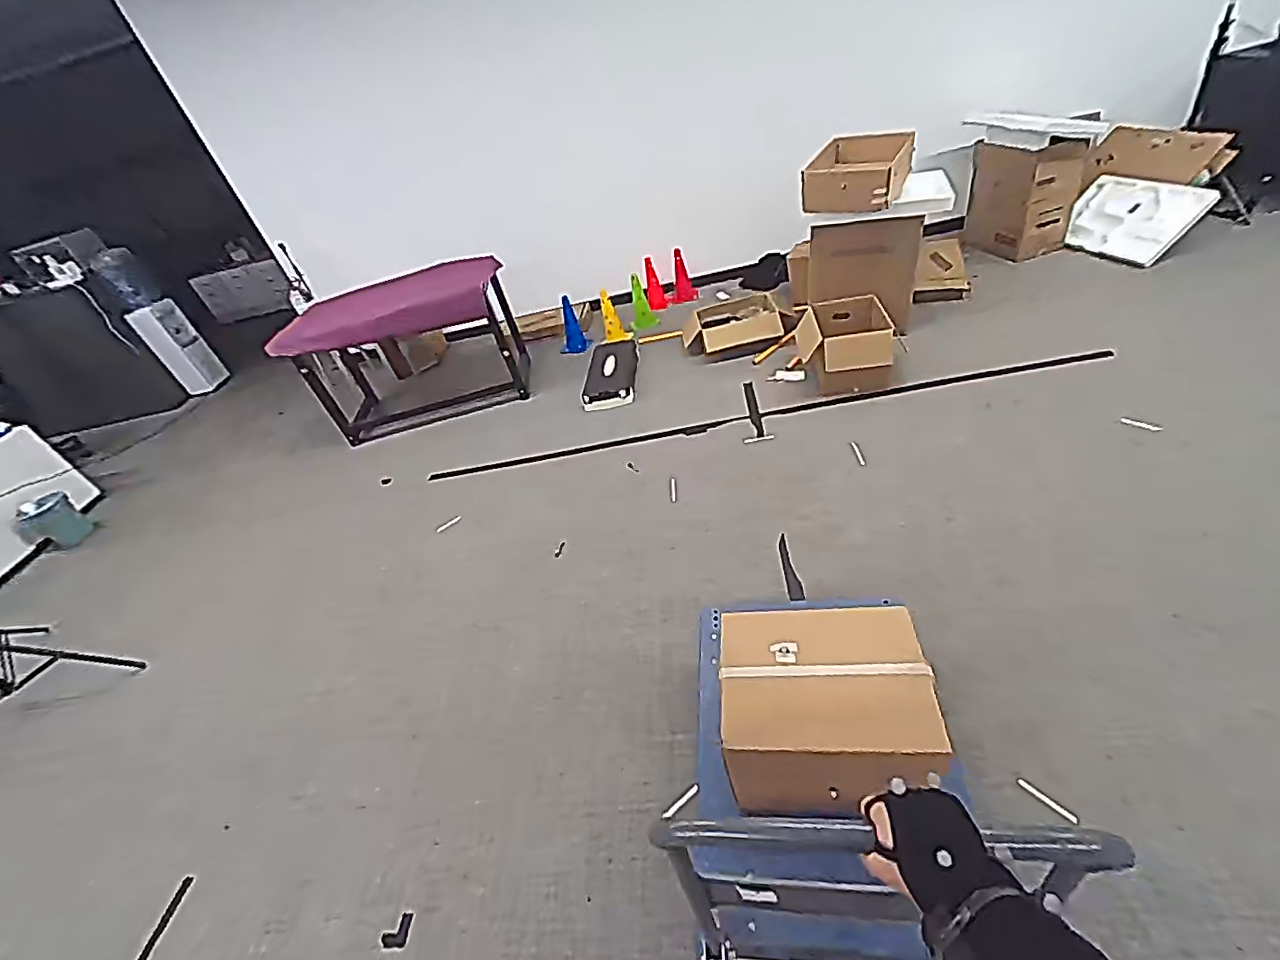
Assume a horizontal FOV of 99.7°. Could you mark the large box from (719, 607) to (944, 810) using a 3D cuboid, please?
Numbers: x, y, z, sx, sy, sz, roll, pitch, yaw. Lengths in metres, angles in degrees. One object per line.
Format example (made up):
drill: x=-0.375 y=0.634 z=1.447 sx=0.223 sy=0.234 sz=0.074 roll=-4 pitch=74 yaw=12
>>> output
large box: x=0.402 y=0.515 z=1.207 sx=0.408 sy=0.320 sz=0.320 roll=-7 pitch=38 yaw=14
